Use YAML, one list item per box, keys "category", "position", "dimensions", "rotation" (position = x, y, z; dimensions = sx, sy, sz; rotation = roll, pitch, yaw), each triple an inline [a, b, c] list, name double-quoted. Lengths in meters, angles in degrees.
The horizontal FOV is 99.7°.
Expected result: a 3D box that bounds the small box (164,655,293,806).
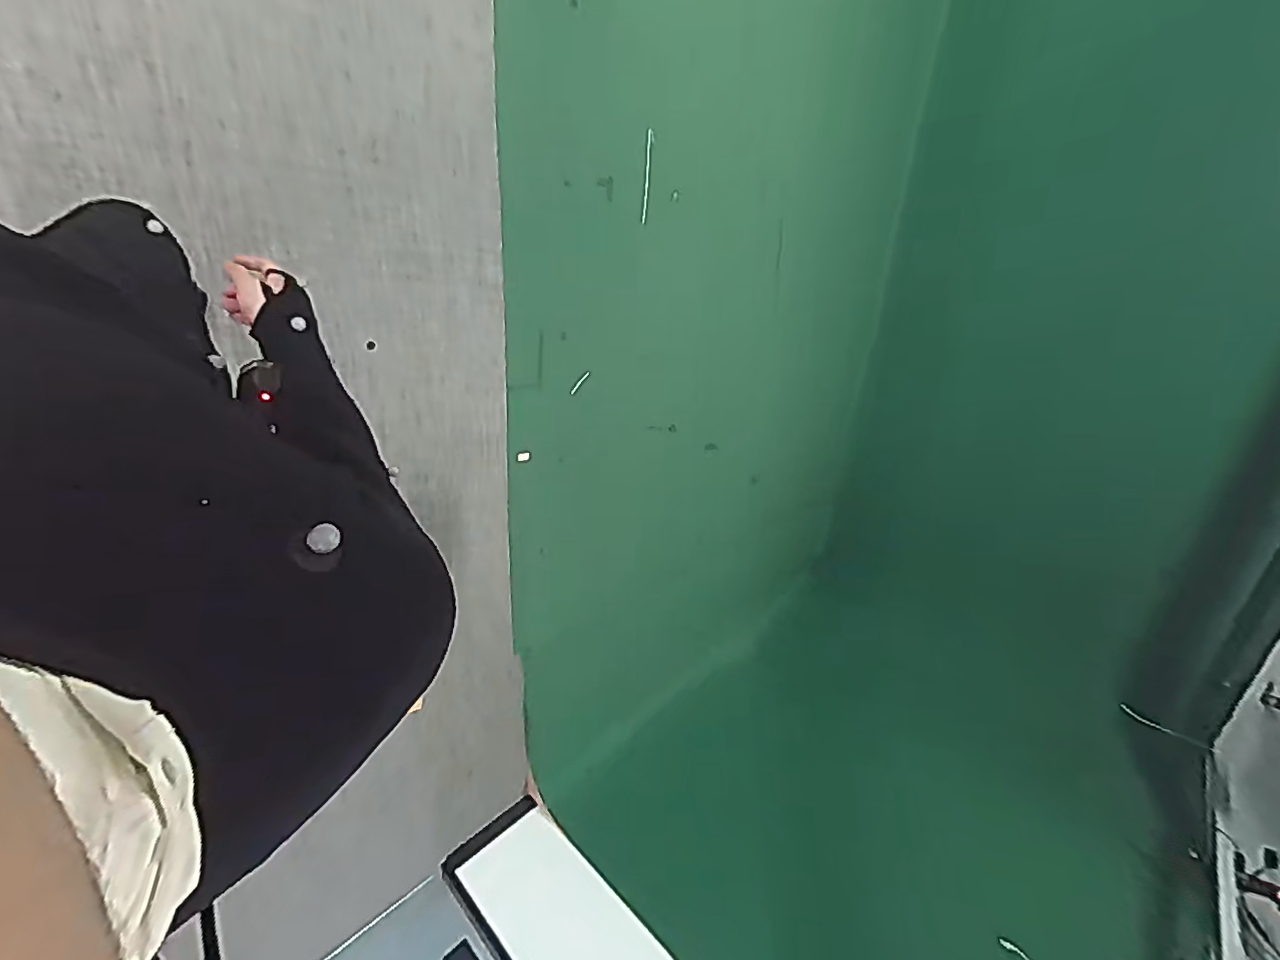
- category: "small box"
  position: [-0.782, 0.458, 1.030]
  dimensions: [0.168, 0.176, 0.179]
  rotation: [-9, 116, -46]
